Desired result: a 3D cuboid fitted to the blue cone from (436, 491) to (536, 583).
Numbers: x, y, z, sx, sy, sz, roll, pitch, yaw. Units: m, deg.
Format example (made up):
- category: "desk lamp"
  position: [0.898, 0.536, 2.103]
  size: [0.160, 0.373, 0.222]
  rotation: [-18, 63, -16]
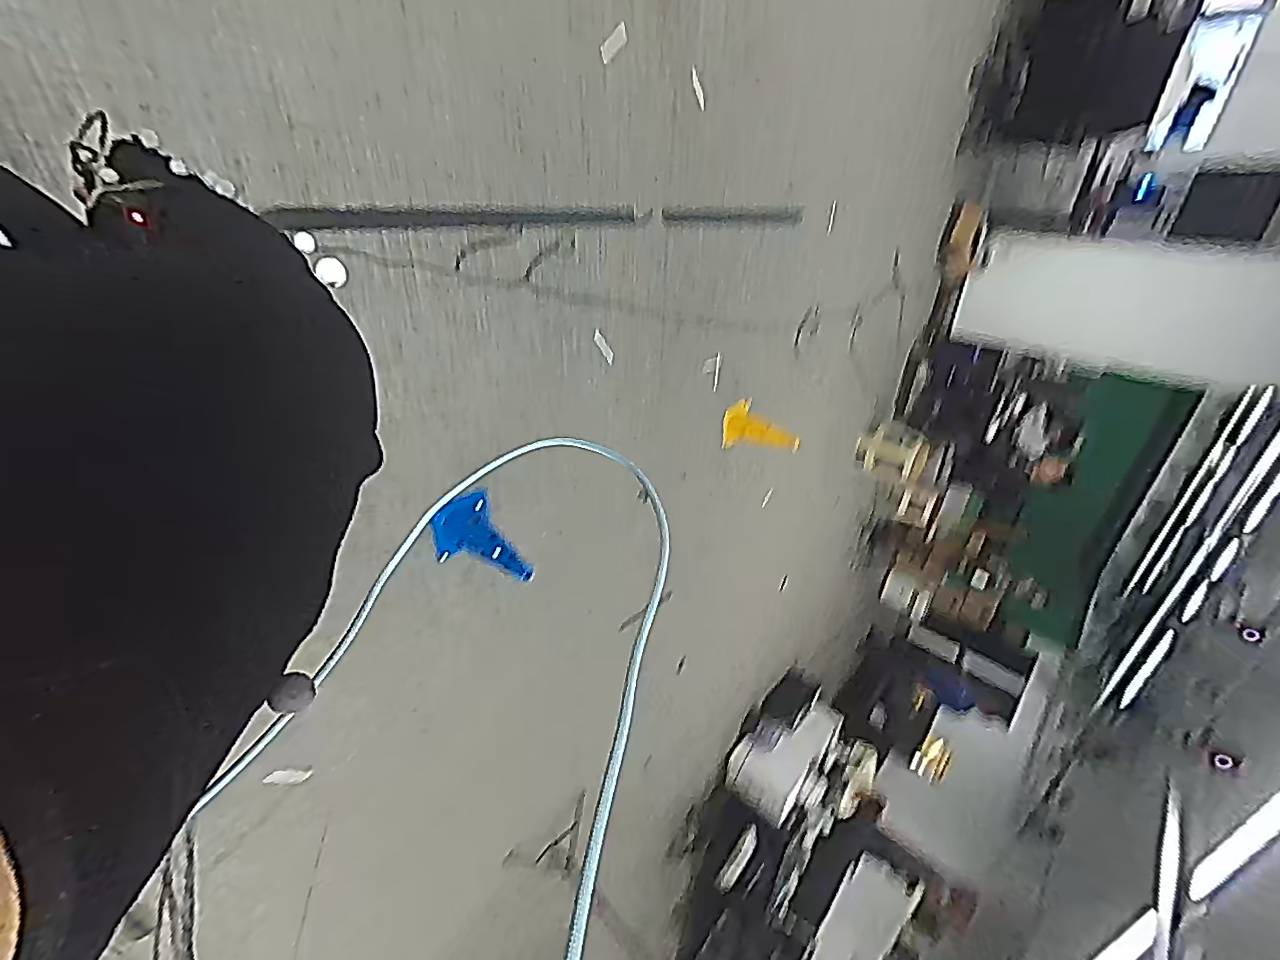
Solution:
- category: "blue cone"
  position: [-0.441, 0.197, 1.633]
  size: [0.193, 0.380, 0.192]
  rotation: [-25, 131, -40]
